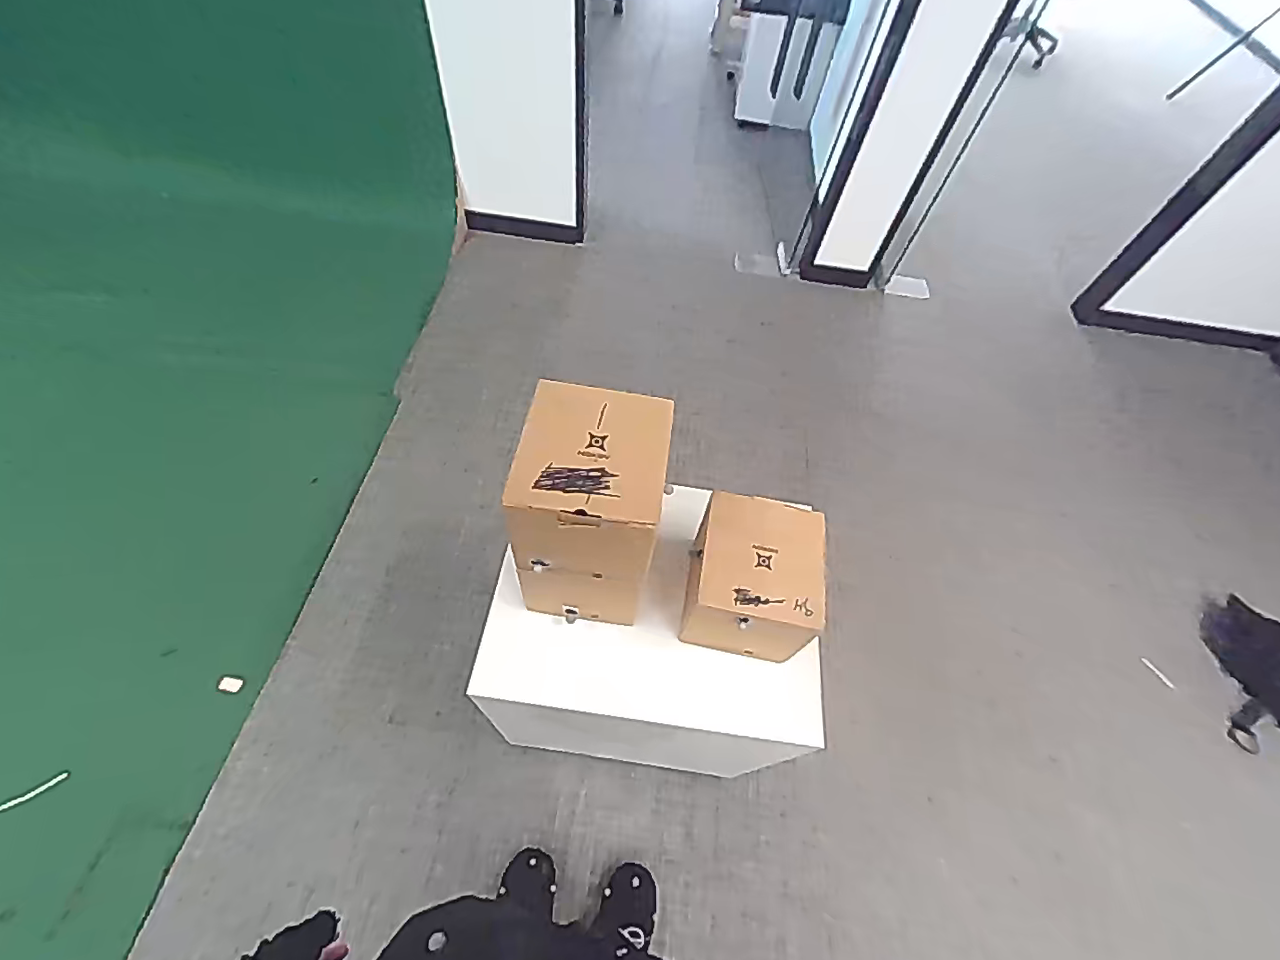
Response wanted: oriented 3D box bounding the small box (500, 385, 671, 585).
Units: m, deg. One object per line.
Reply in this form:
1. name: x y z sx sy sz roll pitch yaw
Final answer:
1. small box: -0.060 0.013 0.670 0.168 0.176 0.179 9 56 0

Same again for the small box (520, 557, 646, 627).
1. small box: -0.074 0.102 0.808 0.168 0.176 0.179 7 58 0

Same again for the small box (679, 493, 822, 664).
1. small box: 0.158 0.149 0.799 0.168 0.176 0.179 12 57 2
